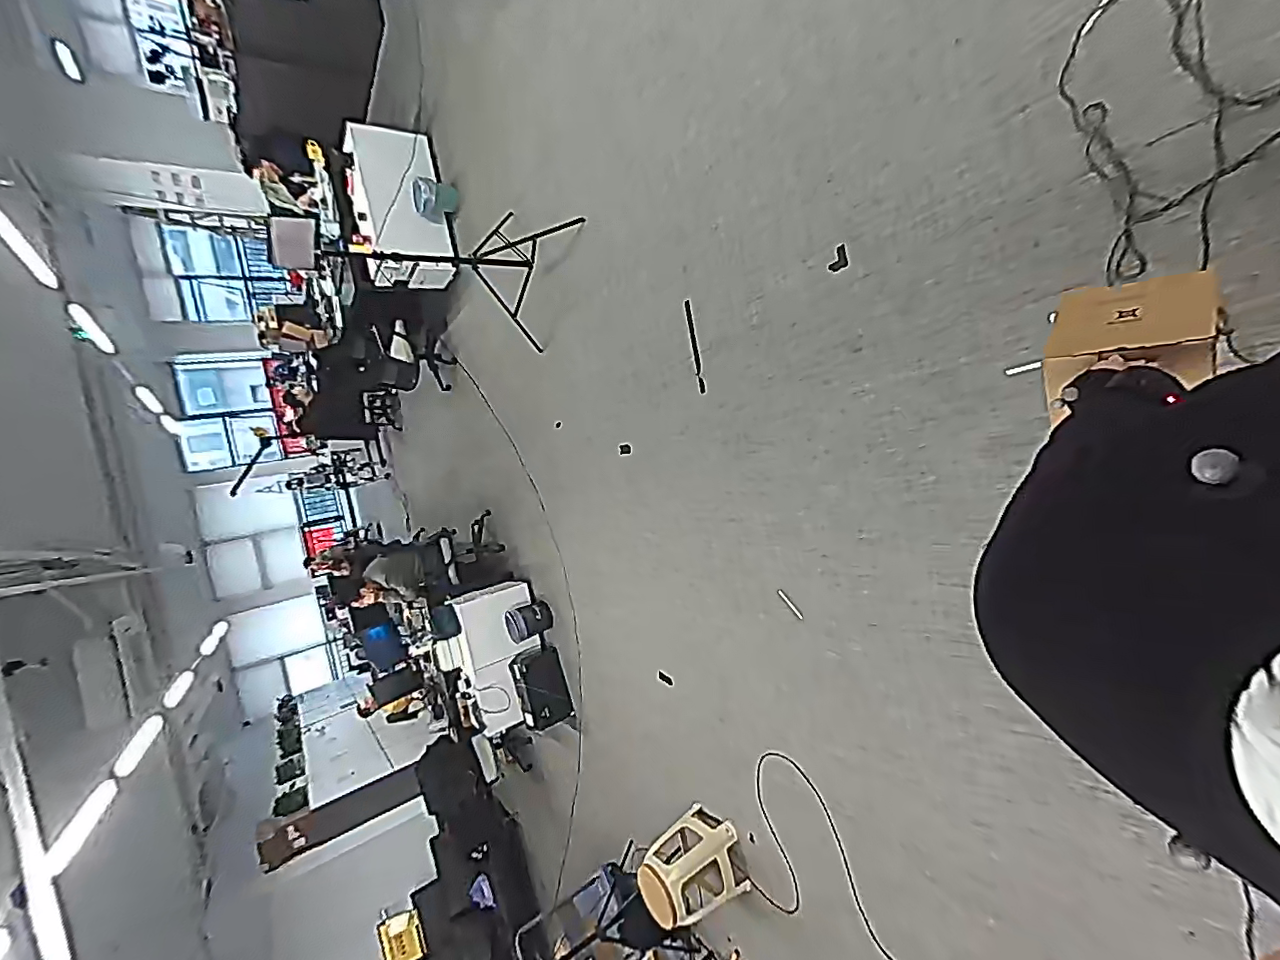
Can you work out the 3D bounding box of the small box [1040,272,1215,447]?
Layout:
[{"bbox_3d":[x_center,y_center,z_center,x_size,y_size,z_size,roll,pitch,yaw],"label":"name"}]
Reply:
[{"bbox_3d":[0.692,-0.158,0.765,0.168,0.179,0.176,2,132,46],"label":"small box"}]
